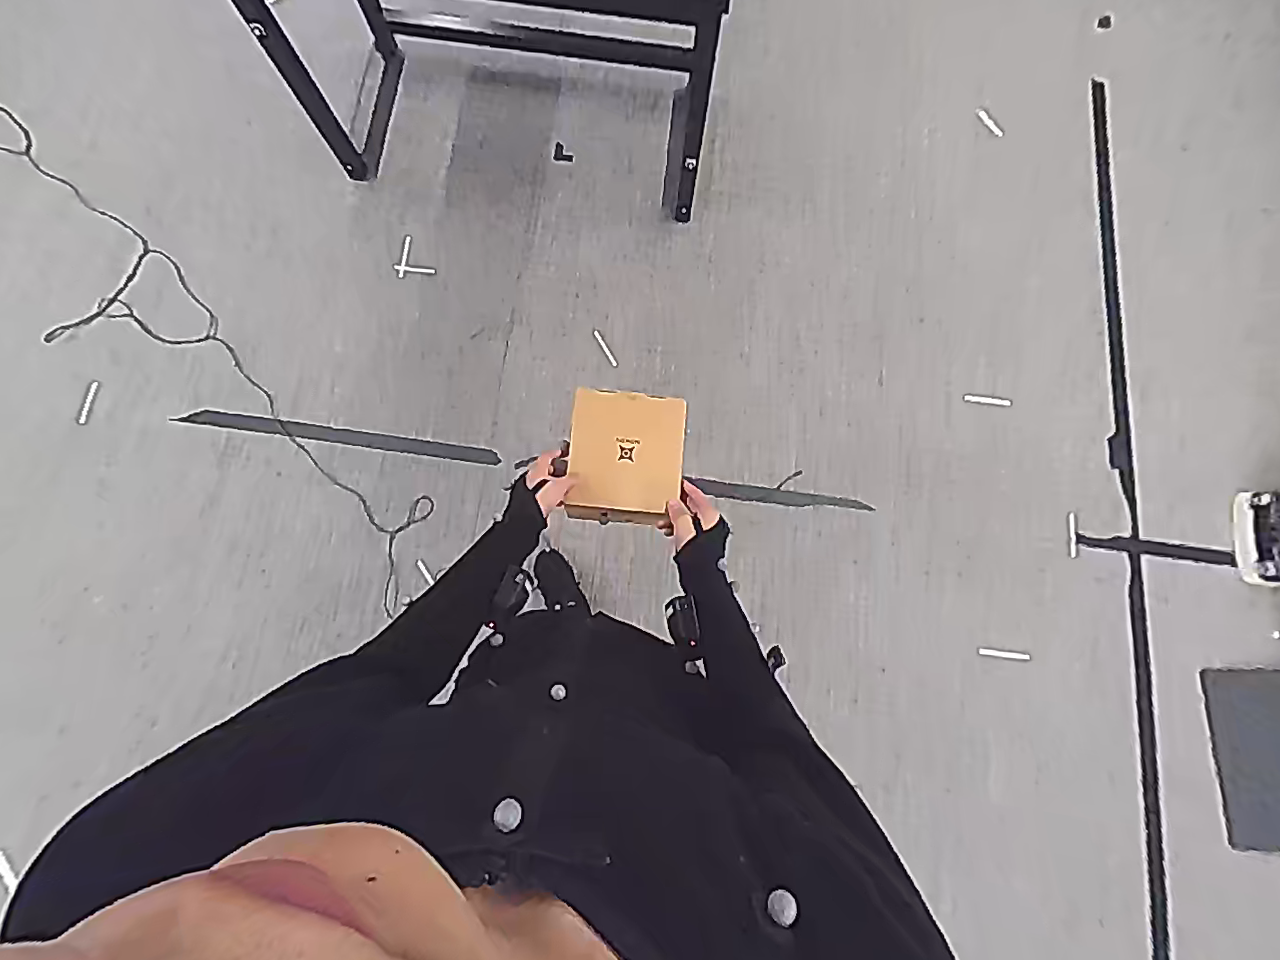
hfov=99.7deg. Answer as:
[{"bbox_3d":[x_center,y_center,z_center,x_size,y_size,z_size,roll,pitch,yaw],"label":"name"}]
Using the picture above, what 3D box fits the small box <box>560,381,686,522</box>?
[{"bbox_3d":[-0.028,-0.034,0.837,0.168,0.176,0.179,5,78,-4],"label":"small box"}]
